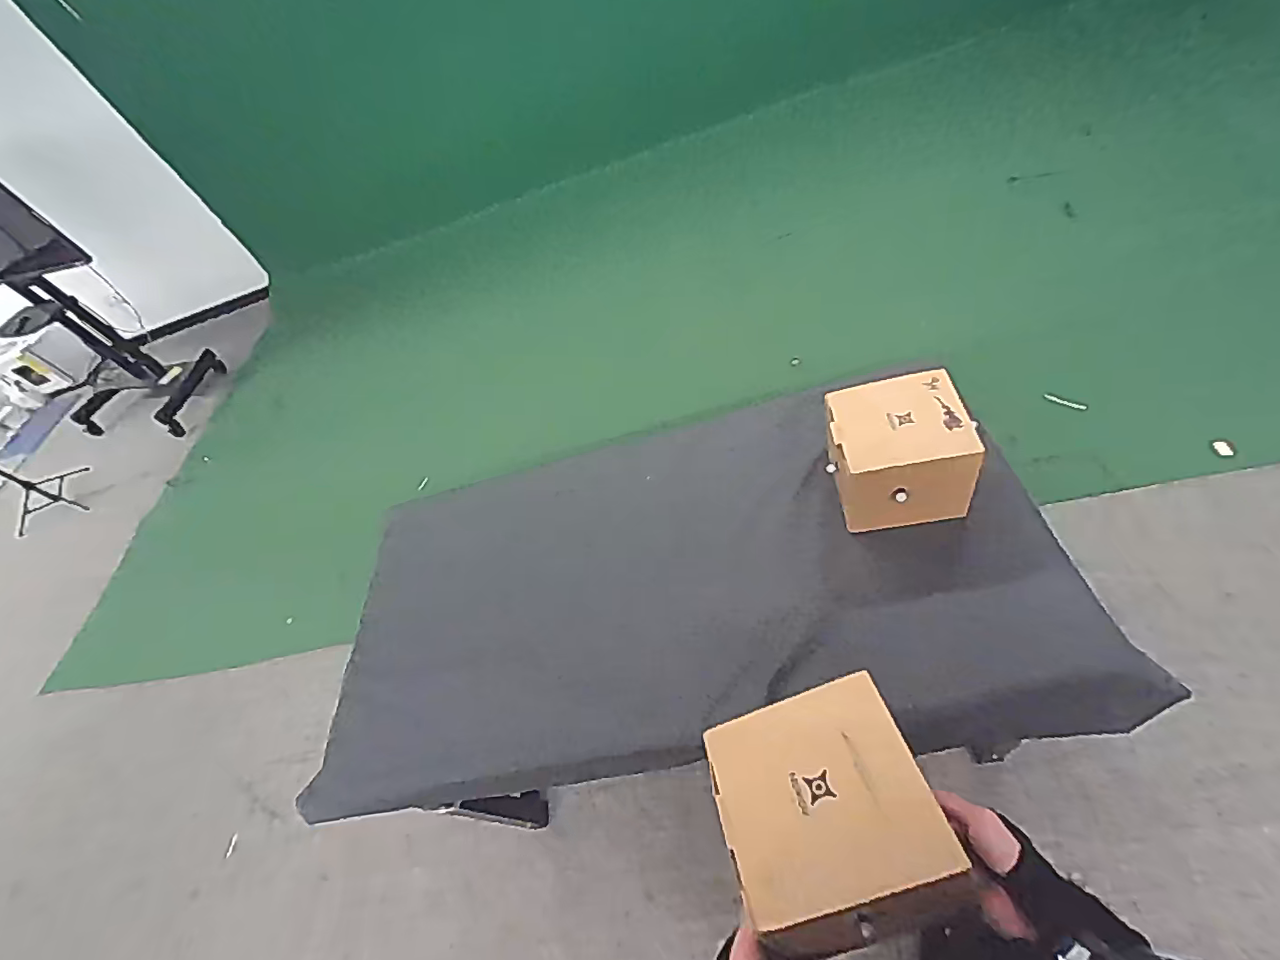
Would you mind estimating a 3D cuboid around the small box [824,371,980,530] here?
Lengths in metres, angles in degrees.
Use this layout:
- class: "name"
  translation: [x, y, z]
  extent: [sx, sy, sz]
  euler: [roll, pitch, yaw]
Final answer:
- class: "small box"
  translation: [0.397, -0.037, 0.844]
  extent: [0.179, 0.176, 0.168]
  euler: [-11, 53, 15]

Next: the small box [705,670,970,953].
- class: "small box"
  translation: [0.186, 0.321, 0.519]
  extent: [0.179, 0.176, 0.168]
  euler: [-24, 39, 8]
